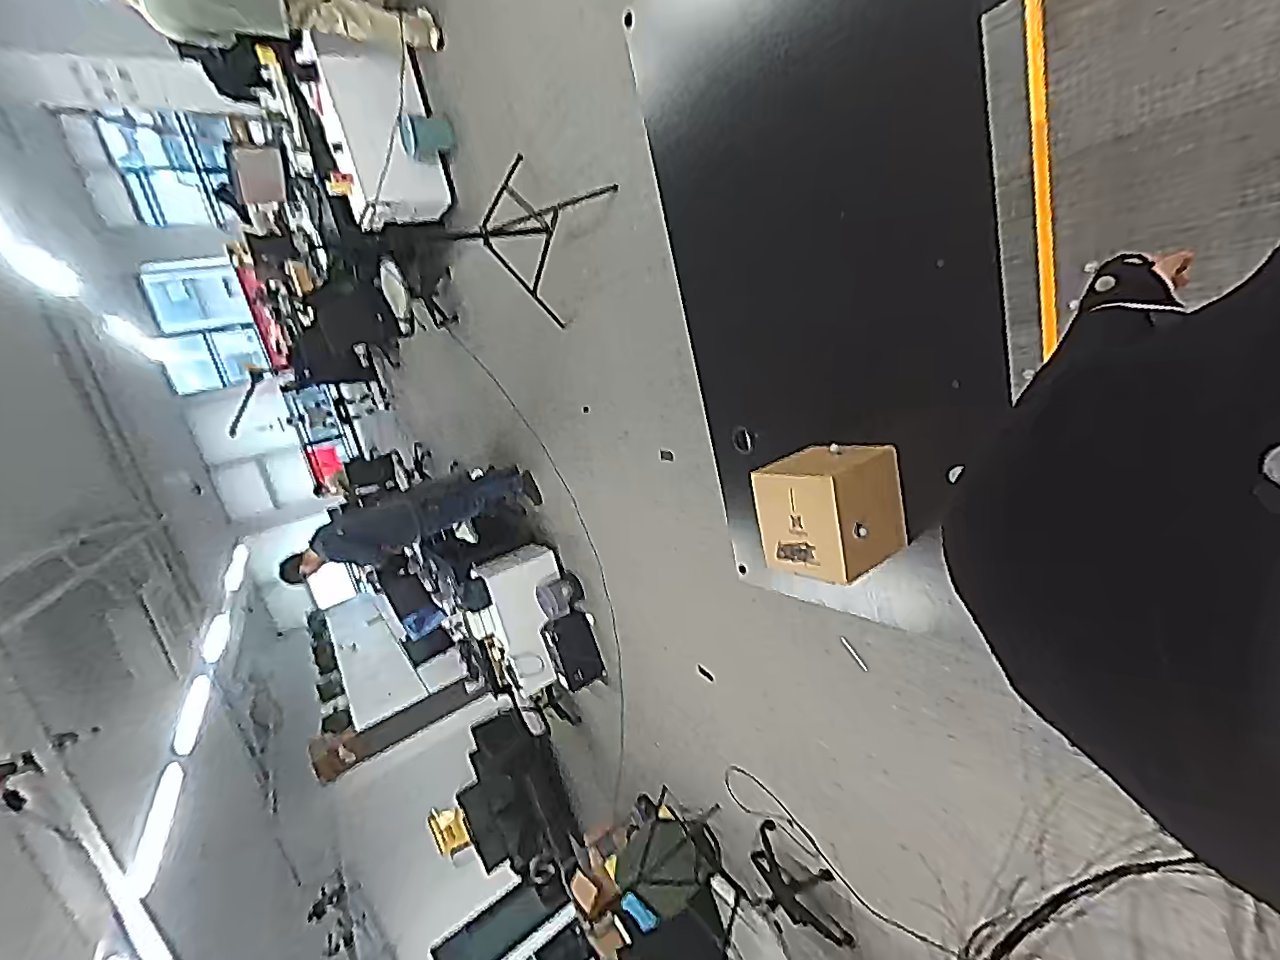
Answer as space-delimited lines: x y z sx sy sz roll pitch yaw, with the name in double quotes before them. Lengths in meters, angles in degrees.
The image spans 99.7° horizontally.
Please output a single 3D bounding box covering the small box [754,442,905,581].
"small box" 0.322 0.043 0.911 0.168 0.176 0.179 5 112 56
